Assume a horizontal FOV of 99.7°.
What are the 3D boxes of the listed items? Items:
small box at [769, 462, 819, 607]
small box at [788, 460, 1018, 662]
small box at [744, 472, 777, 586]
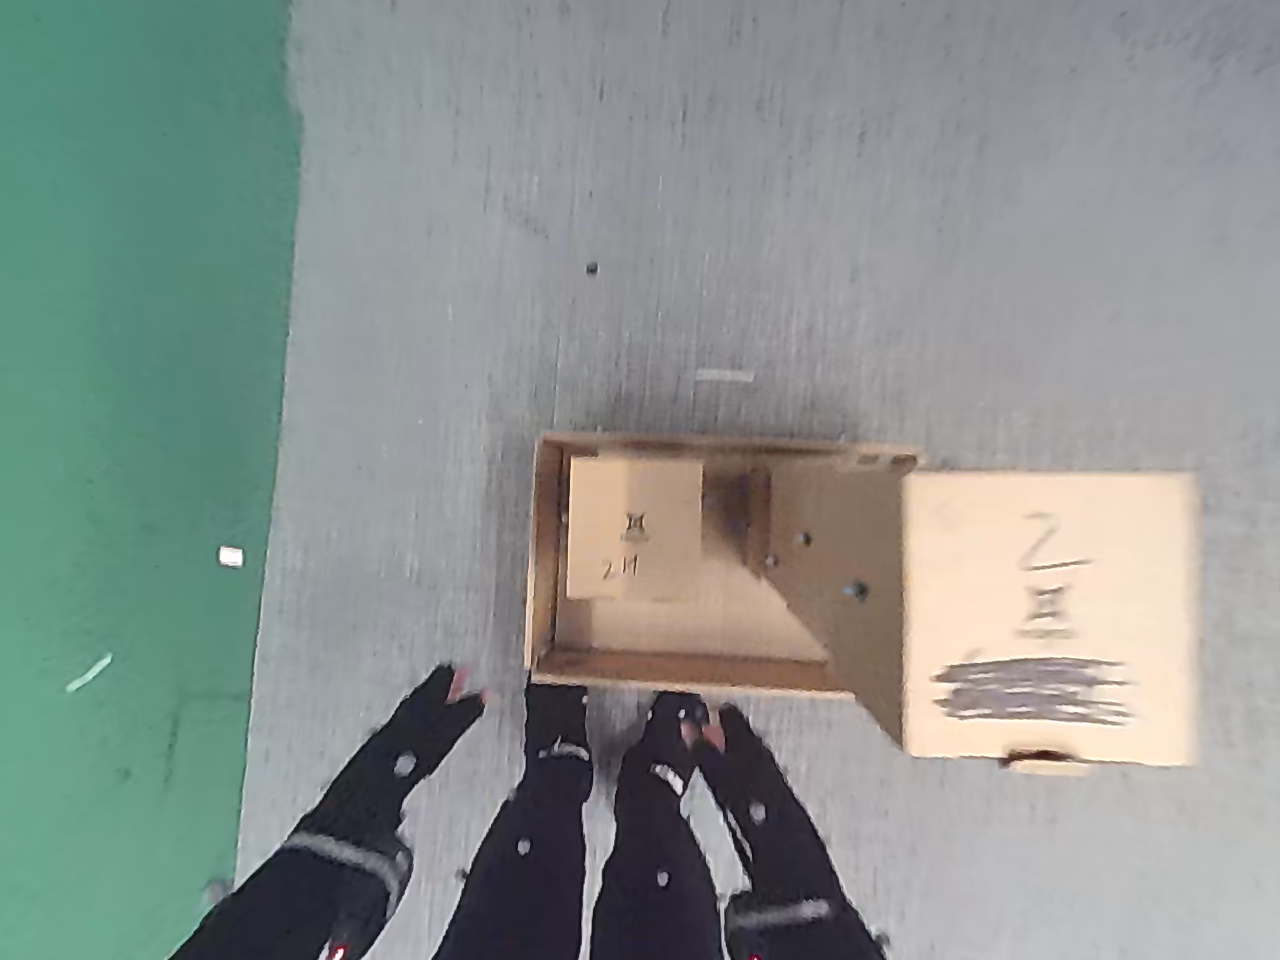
[{"bbox_3d":[0.270,0.070,0.719,0.168,0.176,0.179,3,89,4],"label":"small box"},{"bbox_3d":[0.259,0.074,0.572,0.168,0.176,0.179,3,89,3],"label":"small box"},{"bbox_3d":[0.267,0.075,0.900,0.168,0.176,0.179,-2,88,4],"label":"small box"}]
